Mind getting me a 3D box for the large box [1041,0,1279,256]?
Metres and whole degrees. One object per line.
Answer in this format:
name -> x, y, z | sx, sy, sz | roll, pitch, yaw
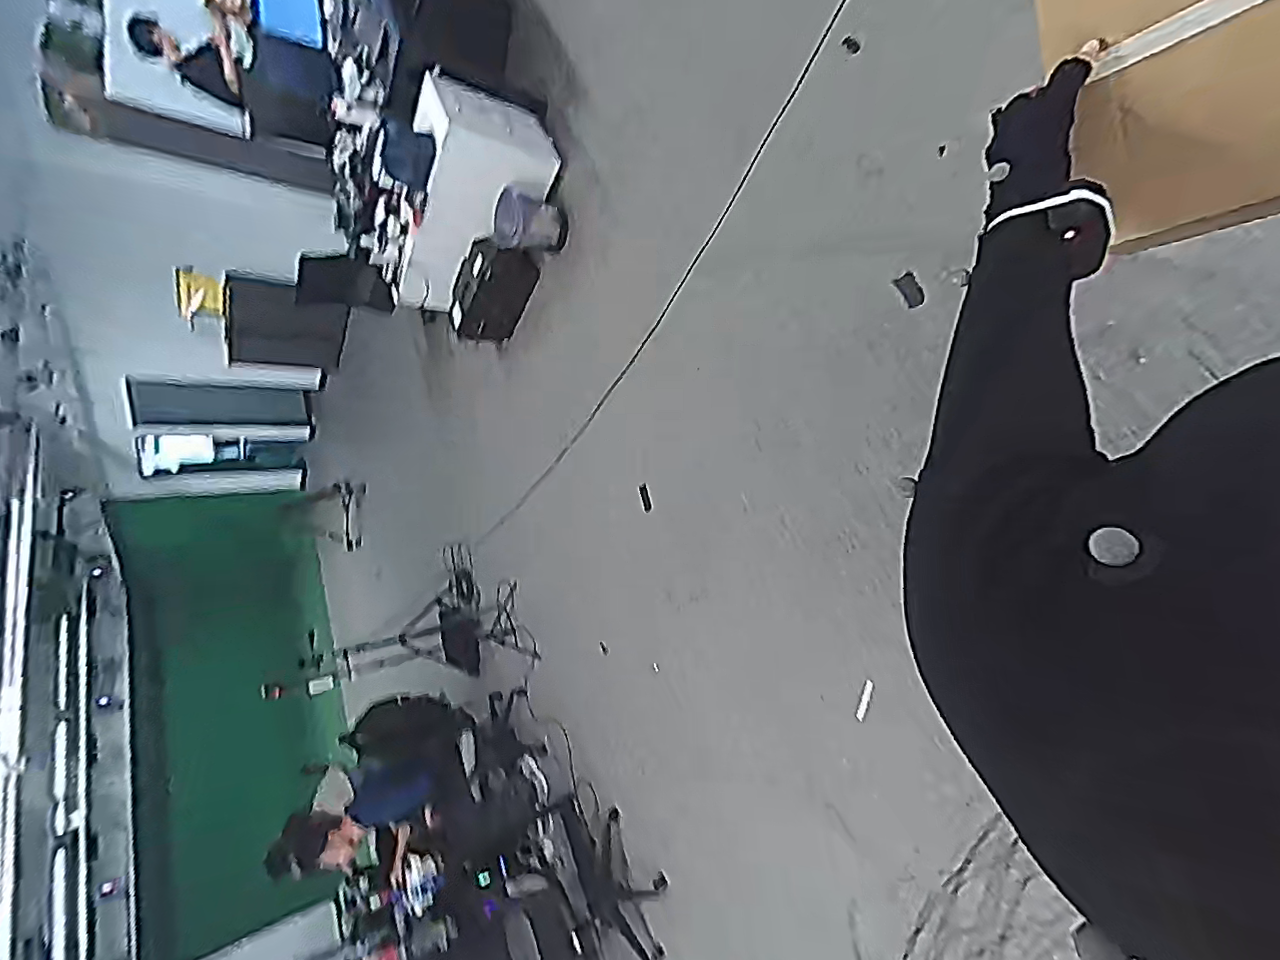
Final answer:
large box -> 0.633, -0.424, 0.470 | 0.408, 0.320, 0.320 | -4, 102, 48
